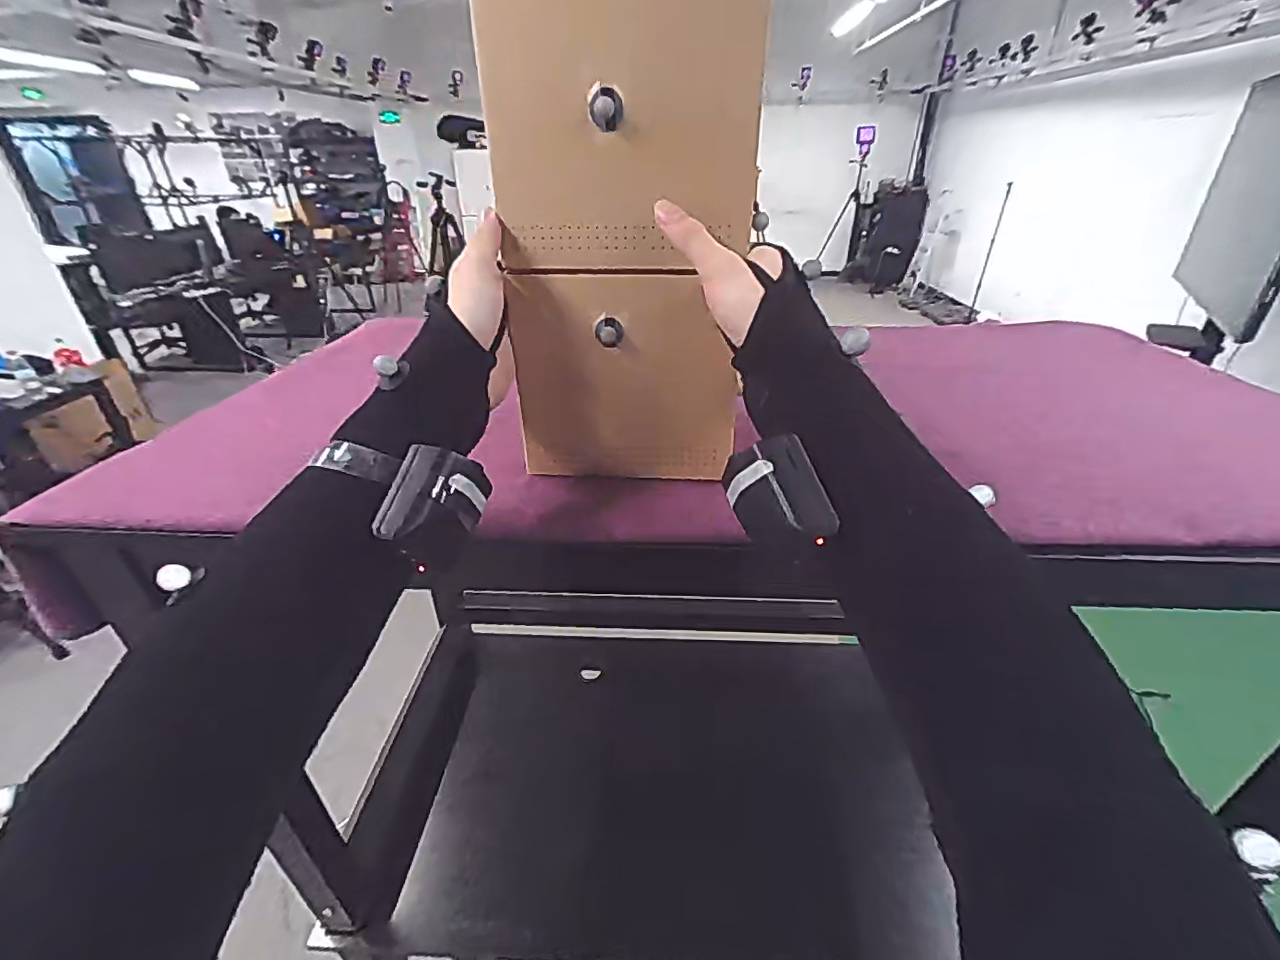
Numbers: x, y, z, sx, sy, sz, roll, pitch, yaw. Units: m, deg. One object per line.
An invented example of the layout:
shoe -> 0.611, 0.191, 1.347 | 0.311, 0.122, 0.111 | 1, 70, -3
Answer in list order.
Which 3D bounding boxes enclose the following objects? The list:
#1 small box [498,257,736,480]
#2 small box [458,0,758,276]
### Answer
small box -> -0.008, -0.110, 0.491 | 0.179, 0.176, 0.168 | 2, 30, 5
small box -> -0.011, -0.253, 0.411 | 0.179, 0.176, 0.168 | 1, 29, 5
